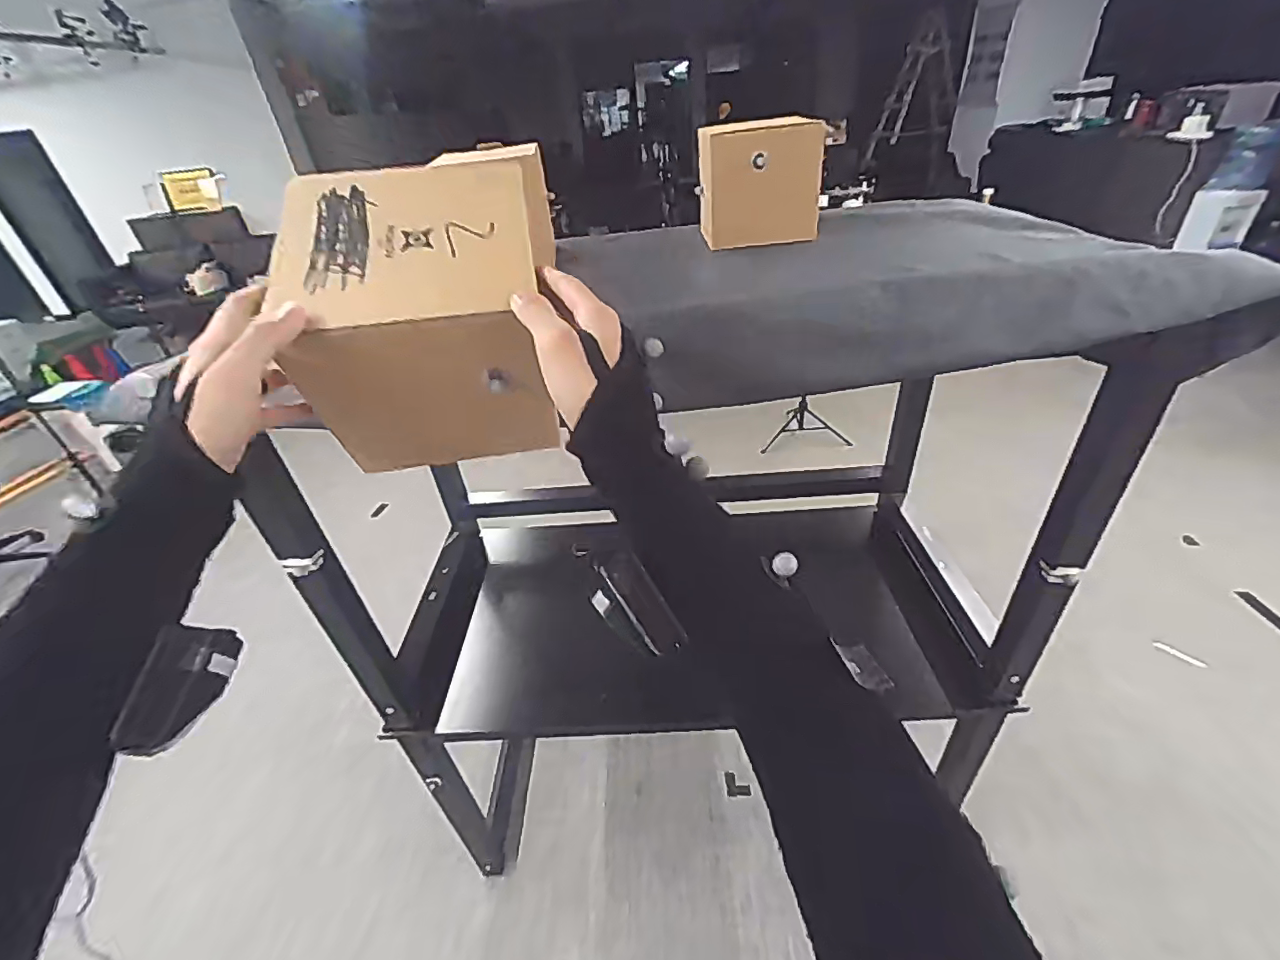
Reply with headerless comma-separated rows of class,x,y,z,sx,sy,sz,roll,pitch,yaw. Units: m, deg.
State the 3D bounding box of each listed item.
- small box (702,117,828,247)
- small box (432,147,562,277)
small box,0.201,-0.500,0.910,0.179,0.176,0.168,-4,36,3
small box,-0.230,-0.455,0.916,0.168,0.176,0.179,-9,35,-2
